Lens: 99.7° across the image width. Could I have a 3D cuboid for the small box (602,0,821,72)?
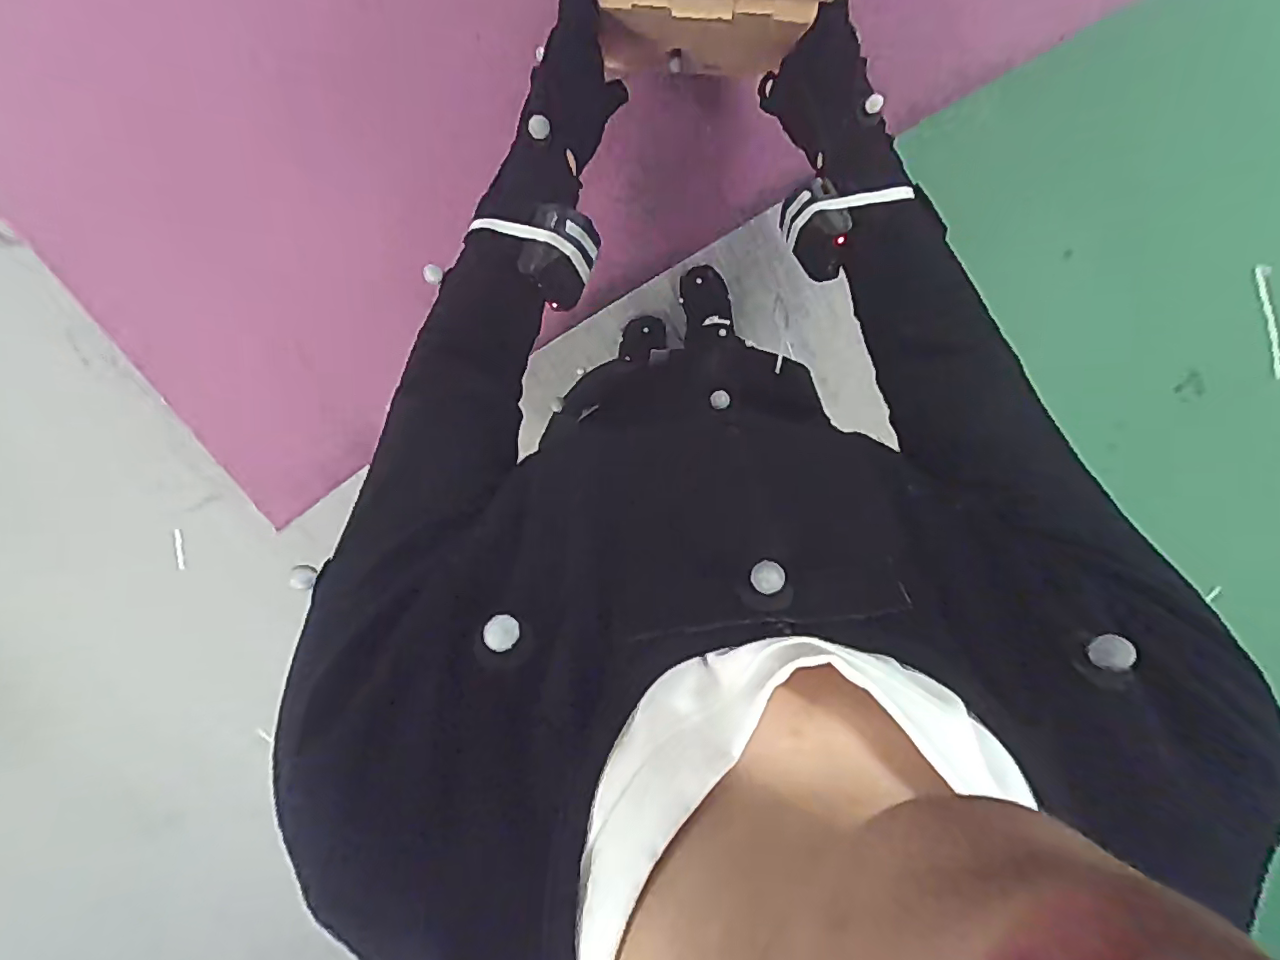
[{"bbox_3d":[0.055,-0.450,0.420,0.168,0.176,0.179,5,117,-1],"label":"small box"}]
